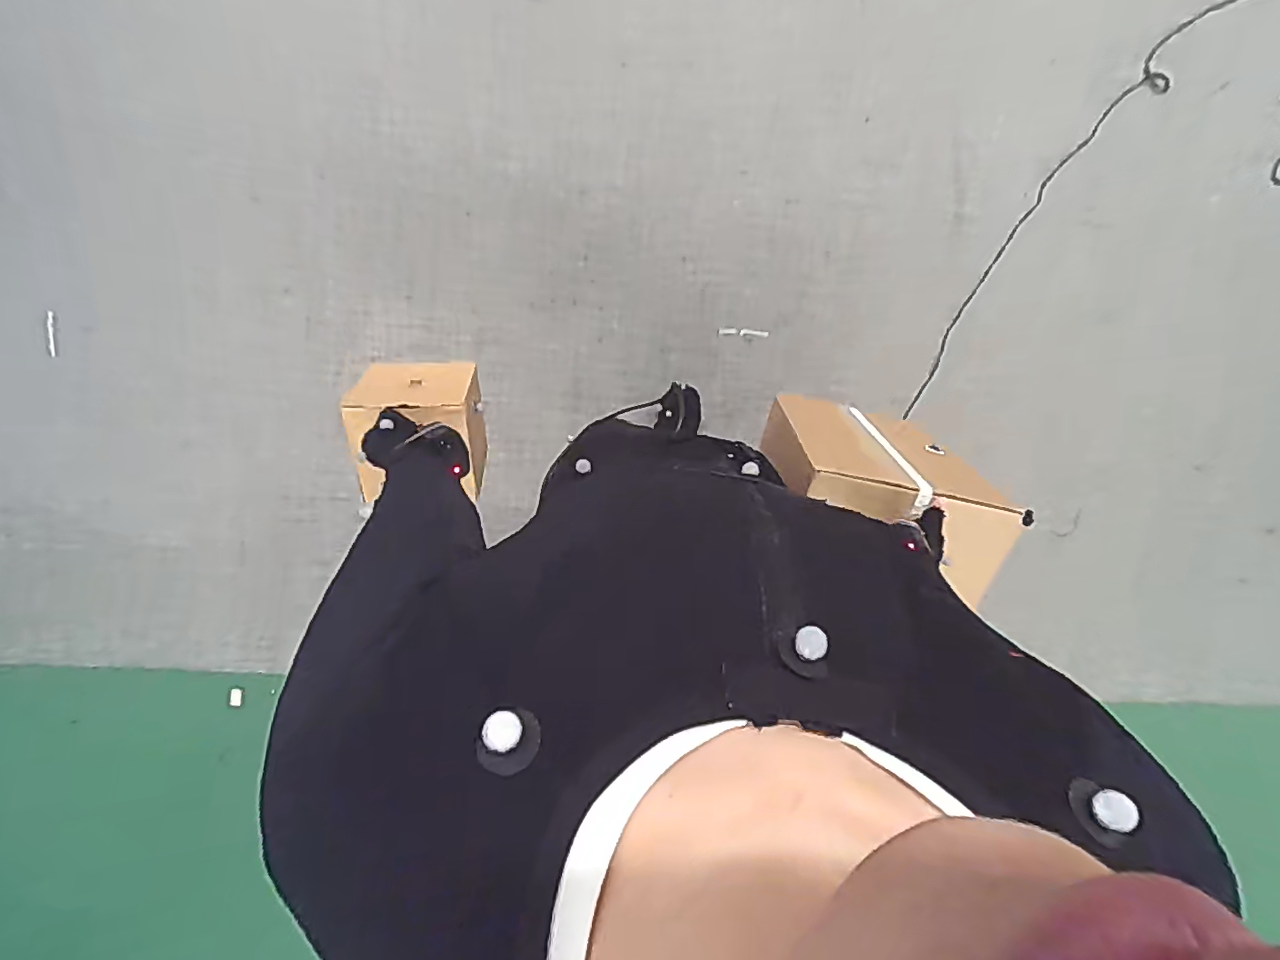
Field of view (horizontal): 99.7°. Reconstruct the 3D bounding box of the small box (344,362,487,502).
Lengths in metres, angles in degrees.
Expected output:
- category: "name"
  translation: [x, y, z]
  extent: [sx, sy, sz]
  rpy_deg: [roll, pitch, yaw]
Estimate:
- category: "small box"
  translation: [-0.343, -0.080, 0.865]
  extent: [0.168, 0.179, 0.176]
  rpy_deg: [-3, 122, -8]
